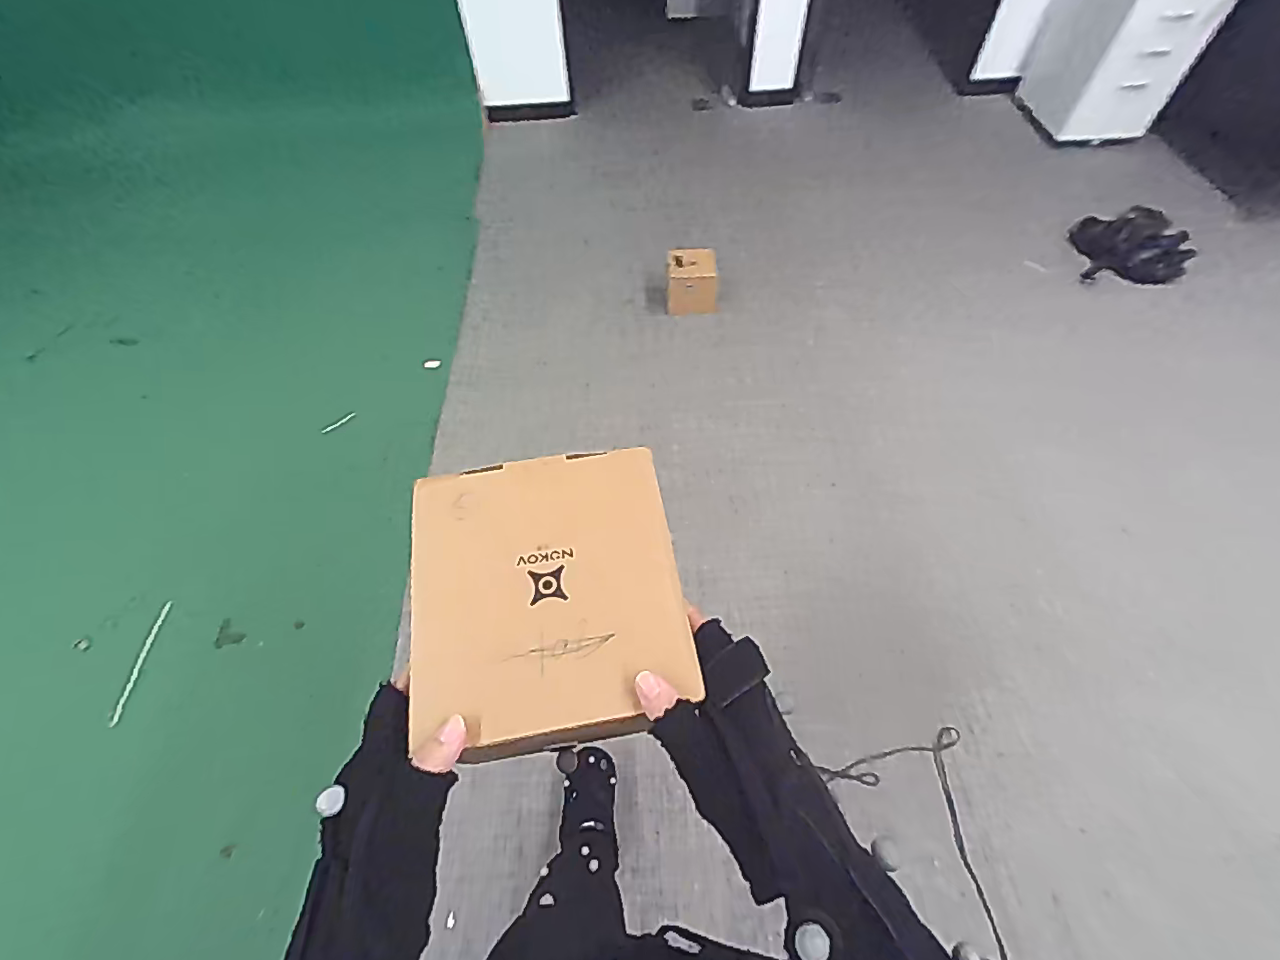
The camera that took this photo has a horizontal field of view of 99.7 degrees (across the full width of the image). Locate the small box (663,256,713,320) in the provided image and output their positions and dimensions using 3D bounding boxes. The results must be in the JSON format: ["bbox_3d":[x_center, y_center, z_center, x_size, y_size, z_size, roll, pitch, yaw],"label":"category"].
[{"bbox_3d":[0.180,-0.732,2.073,0.179,0.176,0.168,-2,58,0],"label":"small box"}]

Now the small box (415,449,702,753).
[{"bbox_3d":[-0.059,0.099,0.415,0.168,0.176,0.179,-8,63,-6],"label":"small box"}]
